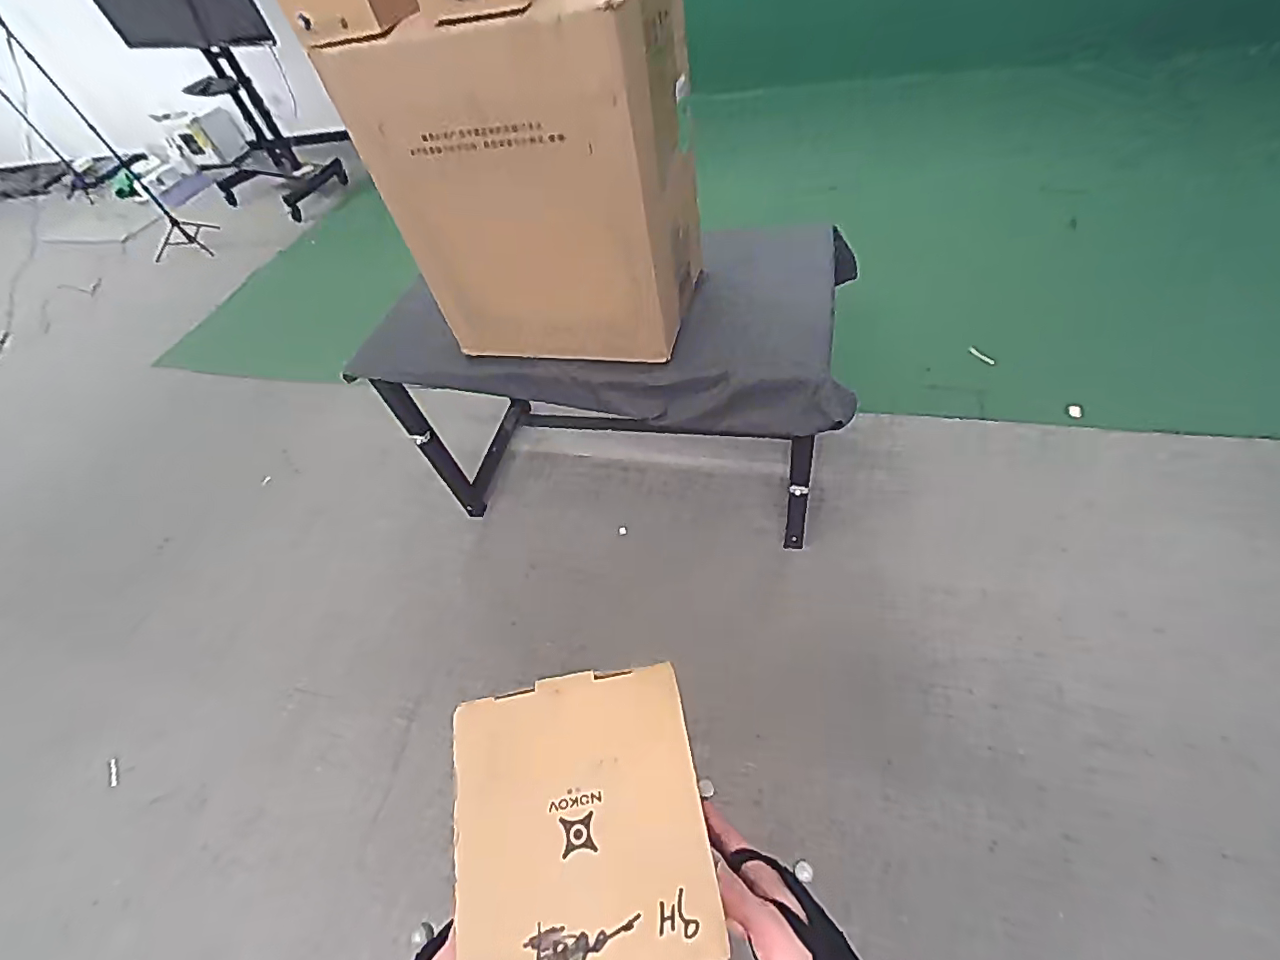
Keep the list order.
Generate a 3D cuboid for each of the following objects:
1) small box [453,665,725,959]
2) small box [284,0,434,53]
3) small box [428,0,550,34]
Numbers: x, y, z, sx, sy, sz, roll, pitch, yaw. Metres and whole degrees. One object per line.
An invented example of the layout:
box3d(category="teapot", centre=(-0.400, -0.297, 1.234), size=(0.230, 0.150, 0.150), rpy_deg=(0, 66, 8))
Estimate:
box3d(category="small box", centre=(-0.036, 0.266, 0.429), size=(0.168, 0.176, 0.179), rpy_deg=(-11, 59, -1))
box3d(category="small box", centre=(-0.455, -0.799, 0.848), size=(0.168, 0.176, 0.179), rpy_deg=(7, 54, 19))
box3d(category="small box", centre=(-0.226, -0.779, 0.779), size=(0.168, 0.176, 0.179), rpy_deg=(5, 55, 17))
